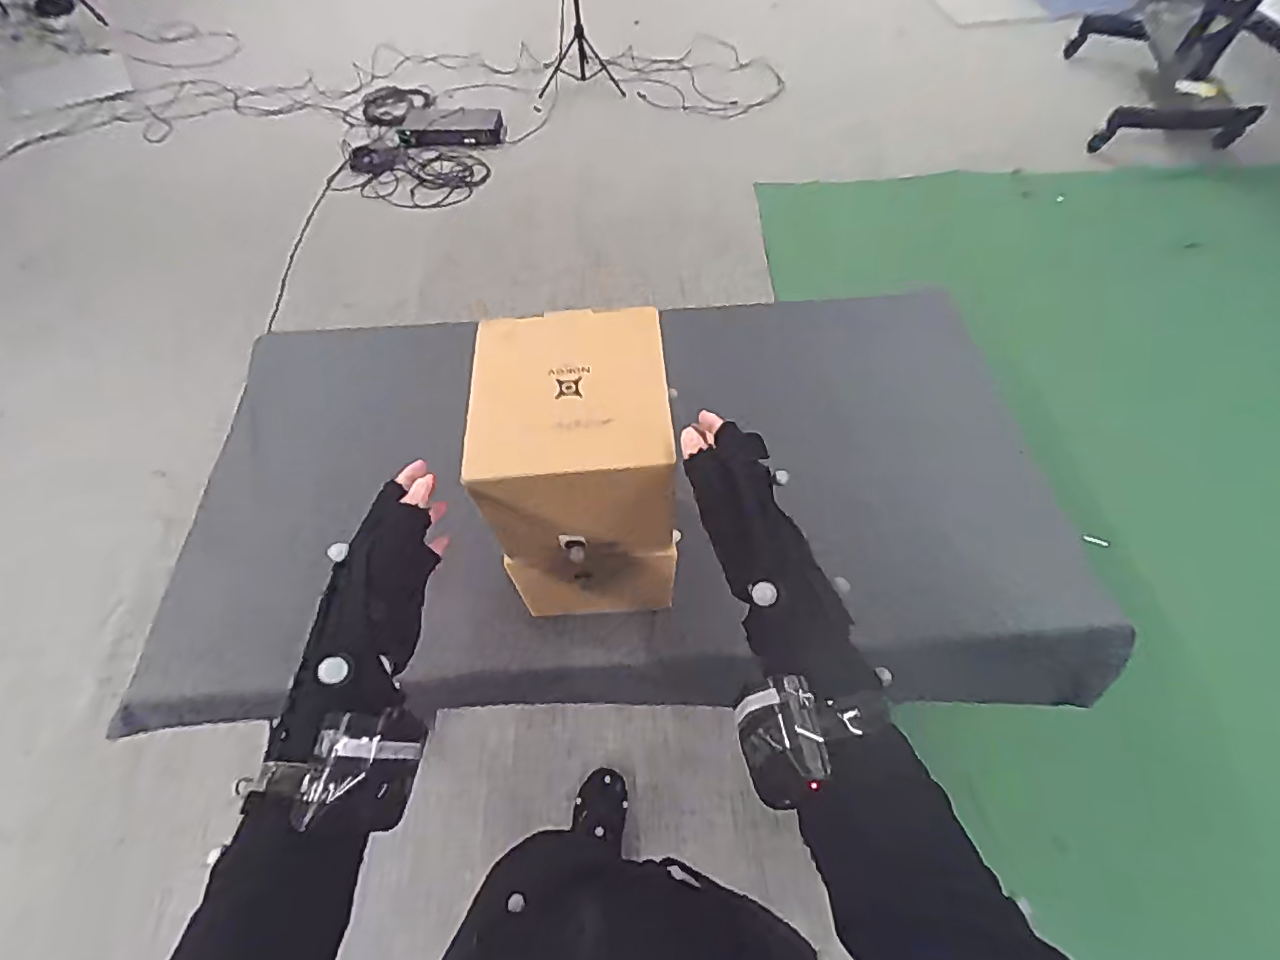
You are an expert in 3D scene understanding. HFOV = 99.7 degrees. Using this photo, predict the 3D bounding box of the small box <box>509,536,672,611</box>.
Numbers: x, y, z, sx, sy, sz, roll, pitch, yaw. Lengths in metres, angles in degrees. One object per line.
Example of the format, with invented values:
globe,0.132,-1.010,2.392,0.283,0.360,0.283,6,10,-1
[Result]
small box,-0.054,0.059,0.674,0.179,0.176,0.168,-3,60,-2

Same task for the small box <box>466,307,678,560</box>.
small box,-0.056,-0.039,0.525,0.168,0.176,0.179,-5,60,-1
